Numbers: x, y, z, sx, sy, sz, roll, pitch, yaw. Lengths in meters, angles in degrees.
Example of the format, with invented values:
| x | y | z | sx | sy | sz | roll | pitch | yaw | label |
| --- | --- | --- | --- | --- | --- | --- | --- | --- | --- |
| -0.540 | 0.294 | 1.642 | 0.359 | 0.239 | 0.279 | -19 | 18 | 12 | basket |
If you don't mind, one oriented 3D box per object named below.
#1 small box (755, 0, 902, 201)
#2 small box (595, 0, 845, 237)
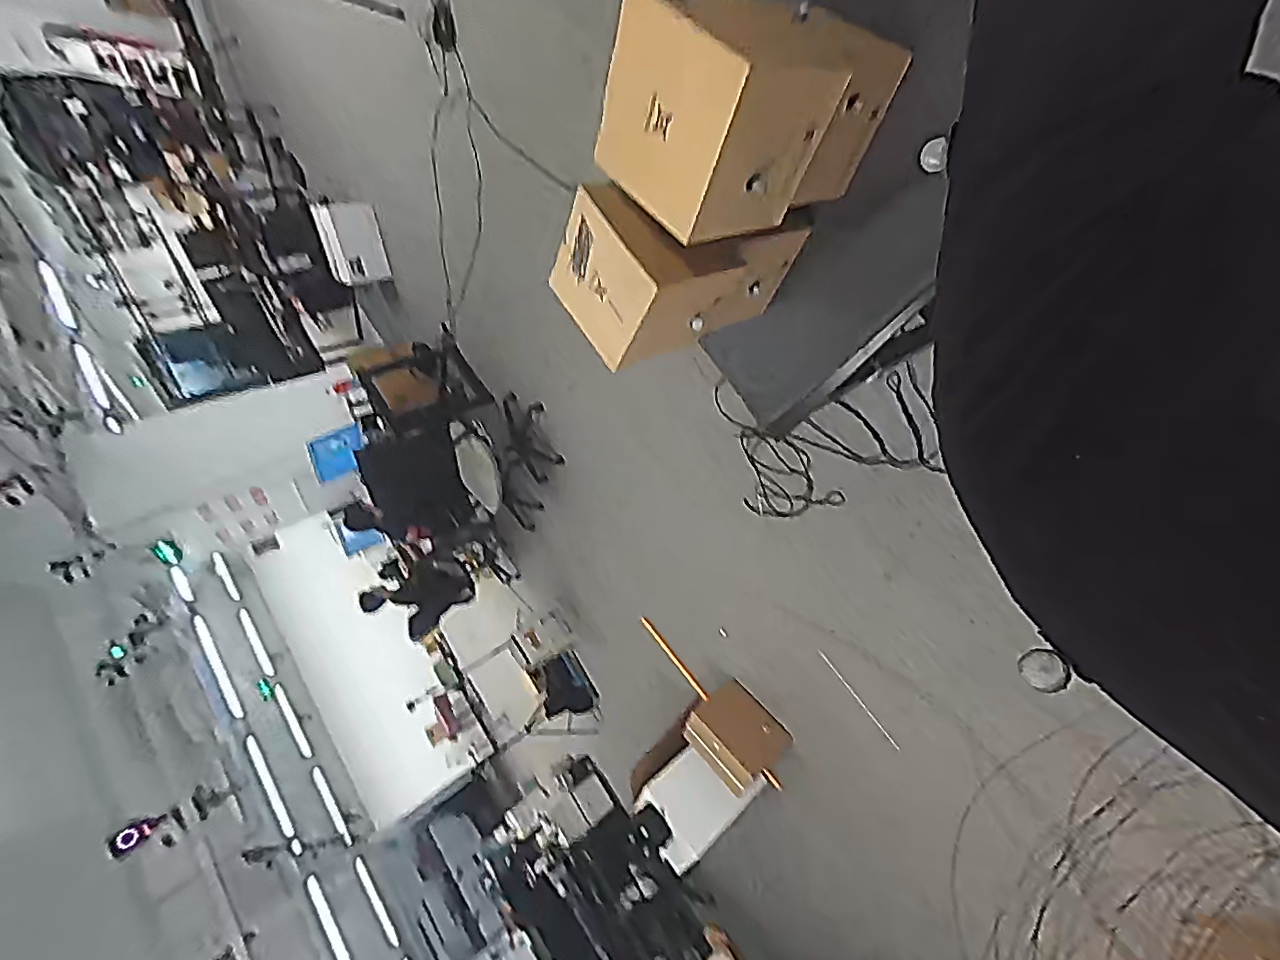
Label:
| x | y | z | sx | sy | sz | roll | pitch | yaw | label |
| --- | --- | --- | --- | --- | --- | --- | --- | --- | --- |
| 0.184 | -0.480 | 0.676 | 0.179 | 0.176 | 0.168 | 48 | 145 | 22 | small box |
| 0.080 | -0.396 | 0.580 | 0.179 | 0.176 | 0.168 | 49 | 145 | 20 | small box |
